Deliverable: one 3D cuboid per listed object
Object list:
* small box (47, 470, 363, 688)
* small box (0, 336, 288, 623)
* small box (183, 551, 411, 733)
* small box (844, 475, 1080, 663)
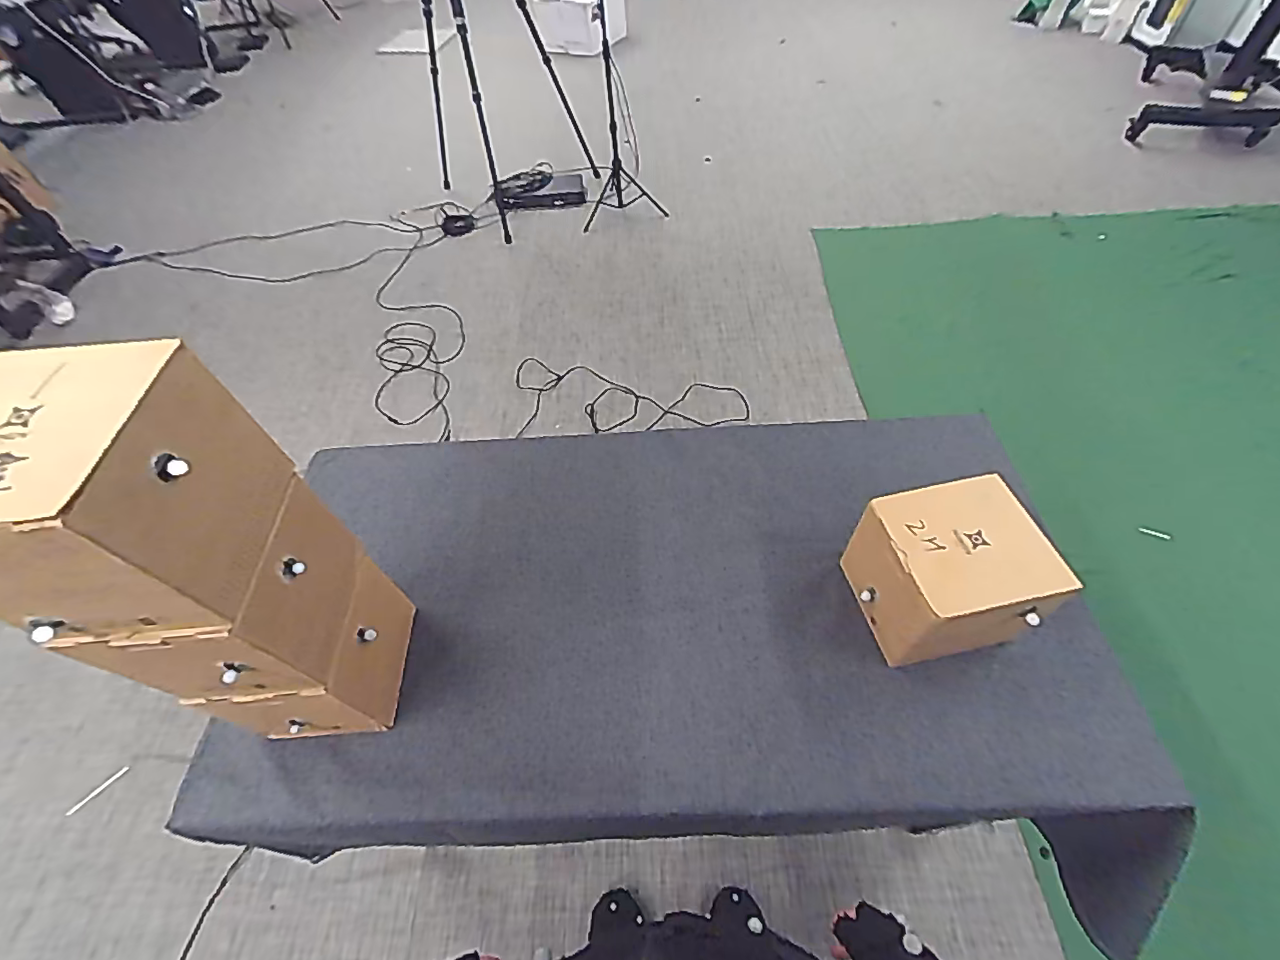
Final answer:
[{"bbox_3d":[-0.424,0.112,0.571,0.168,0.176,0.179,-3,53,0],"label":"small box"},{"bbox_3d":[-0.433,0.008,0.444,0.168,0.176,0.179,-4,53,-1],"label":"small box"},{"bbox_3d":[-0.417,0.212,0.699,0.168,0.176,0.179,-4,54,1],"label":"small box"},{"bbox_3d":[0.394,0.119,0.701,0.179,0.176,0.168,-11,53,-3],"label":"small box"}]
